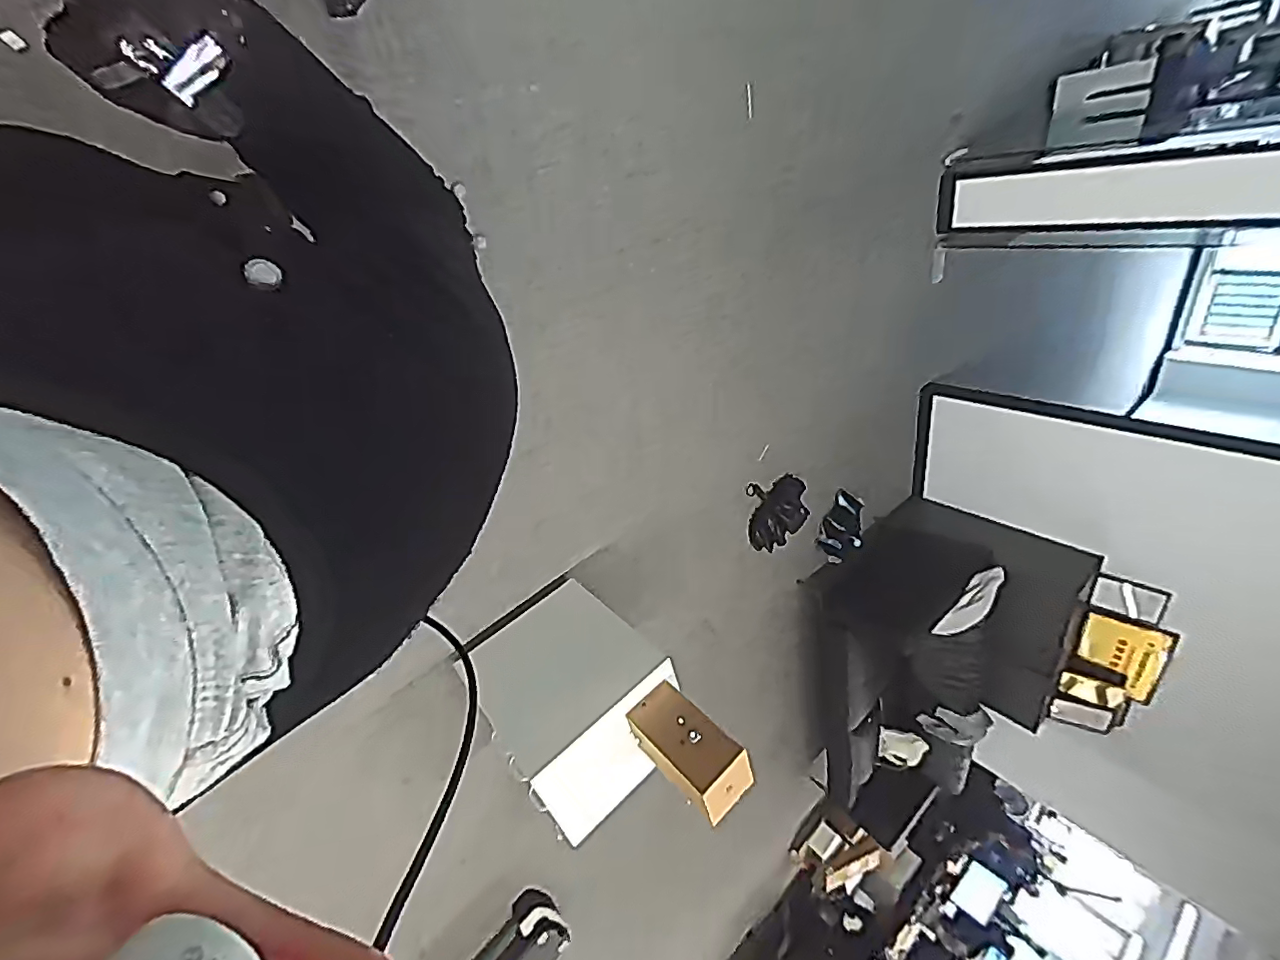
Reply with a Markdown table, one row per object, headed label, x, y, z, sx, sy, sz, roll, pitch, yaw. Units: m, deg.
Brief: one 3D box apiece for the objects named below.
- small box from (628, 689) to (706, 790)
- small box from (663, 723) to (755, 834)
| label | x | y | z | sx | sy | sz | roll | pitch | yaw |
| --- | --- | --- | --- | --- | --- | --- | --- | --- | --- |
| small box | 0.090 | 0.758 | 1.596 | 0.168 | 0.176 | 0.179 | -34 | 128 | -25 |
| small box | 0.187 | 0.805 | 1.474 | 0.168 | 0.176 | 0.179 | -36 | 127 | -25 |
